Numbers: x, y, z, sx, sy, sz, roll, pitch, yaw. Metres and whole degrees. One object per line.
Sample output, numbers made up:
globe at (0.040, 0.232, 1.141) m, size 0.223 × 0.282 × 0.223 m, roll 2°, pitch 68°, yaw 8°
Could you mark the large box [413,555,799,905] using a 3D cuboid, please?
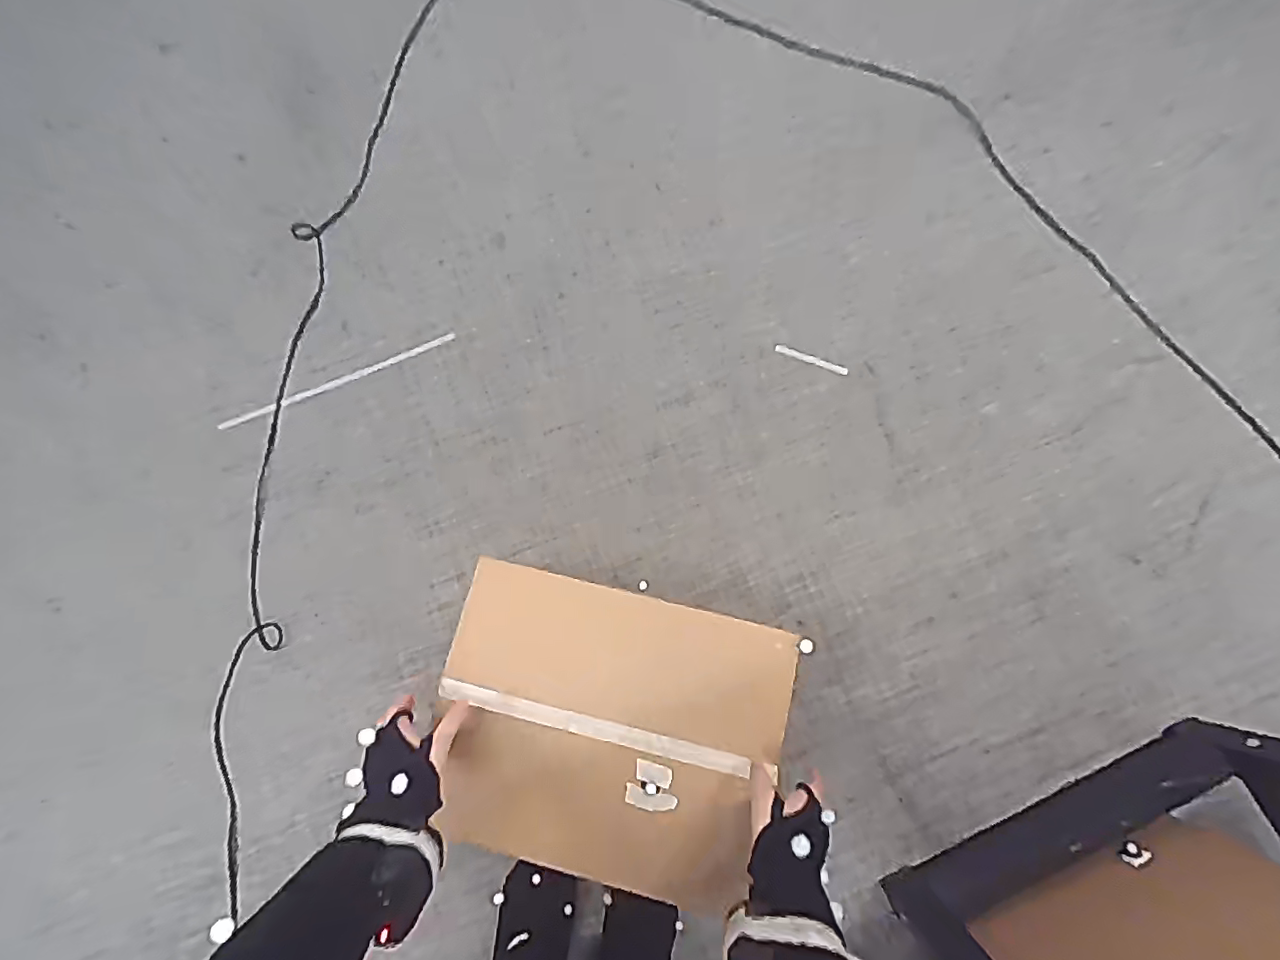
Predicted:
large box at (-0.033, 0.310, 0.778) m, size 0.408 × 0.320 × 0.320 m, roll 13°, pitch 80°, yaw 4°
